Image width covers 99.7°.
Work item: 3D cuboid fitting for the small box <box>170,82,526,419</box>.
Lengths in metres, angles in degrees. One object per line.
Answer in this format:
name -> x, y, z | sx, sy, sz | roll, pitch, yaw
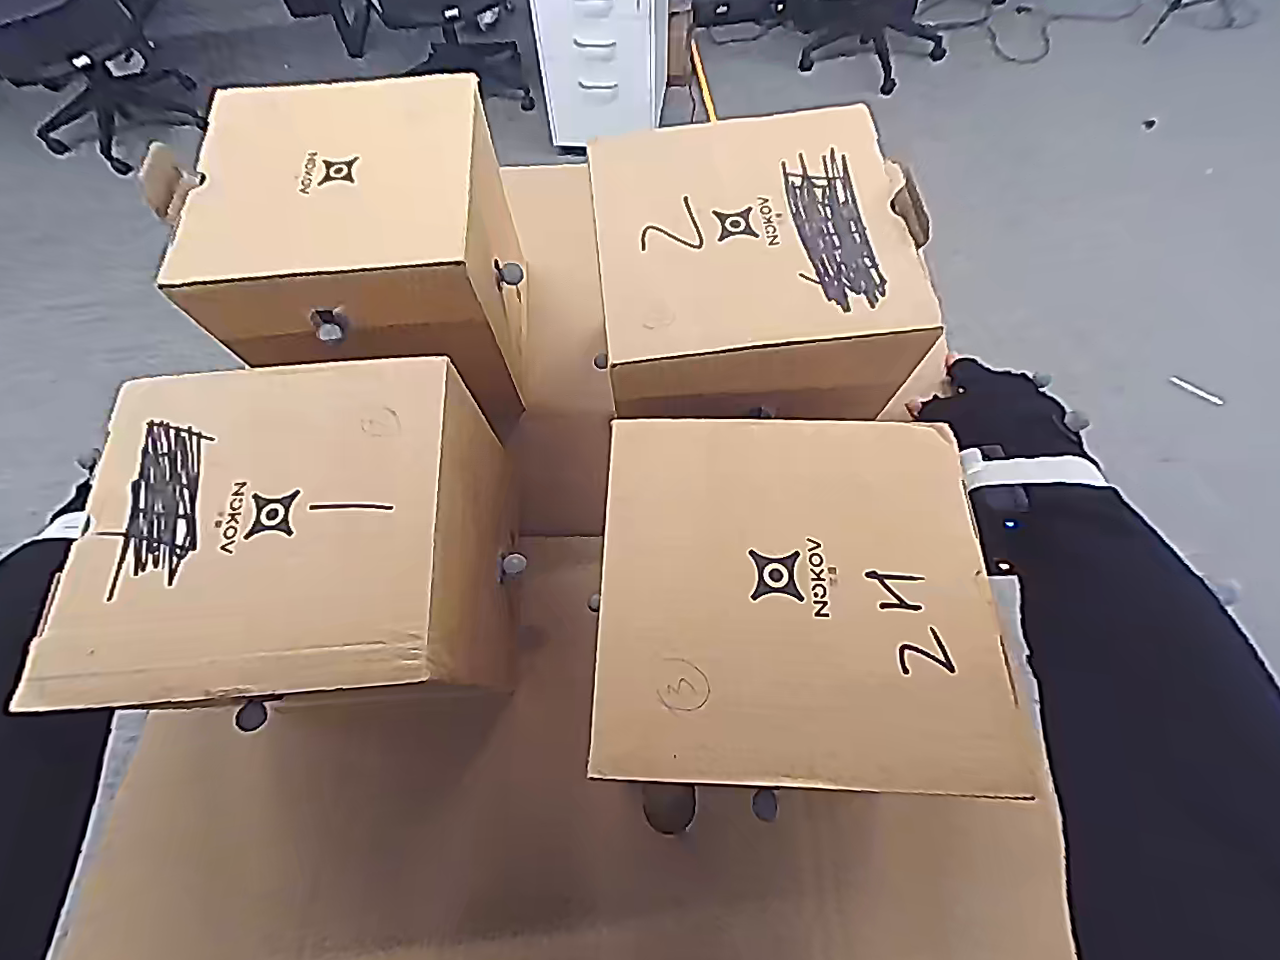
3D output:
small box -> -0.189, -0.161, 0.416 | 0.179, 0.176, 0.168 | -5, 67, 0
